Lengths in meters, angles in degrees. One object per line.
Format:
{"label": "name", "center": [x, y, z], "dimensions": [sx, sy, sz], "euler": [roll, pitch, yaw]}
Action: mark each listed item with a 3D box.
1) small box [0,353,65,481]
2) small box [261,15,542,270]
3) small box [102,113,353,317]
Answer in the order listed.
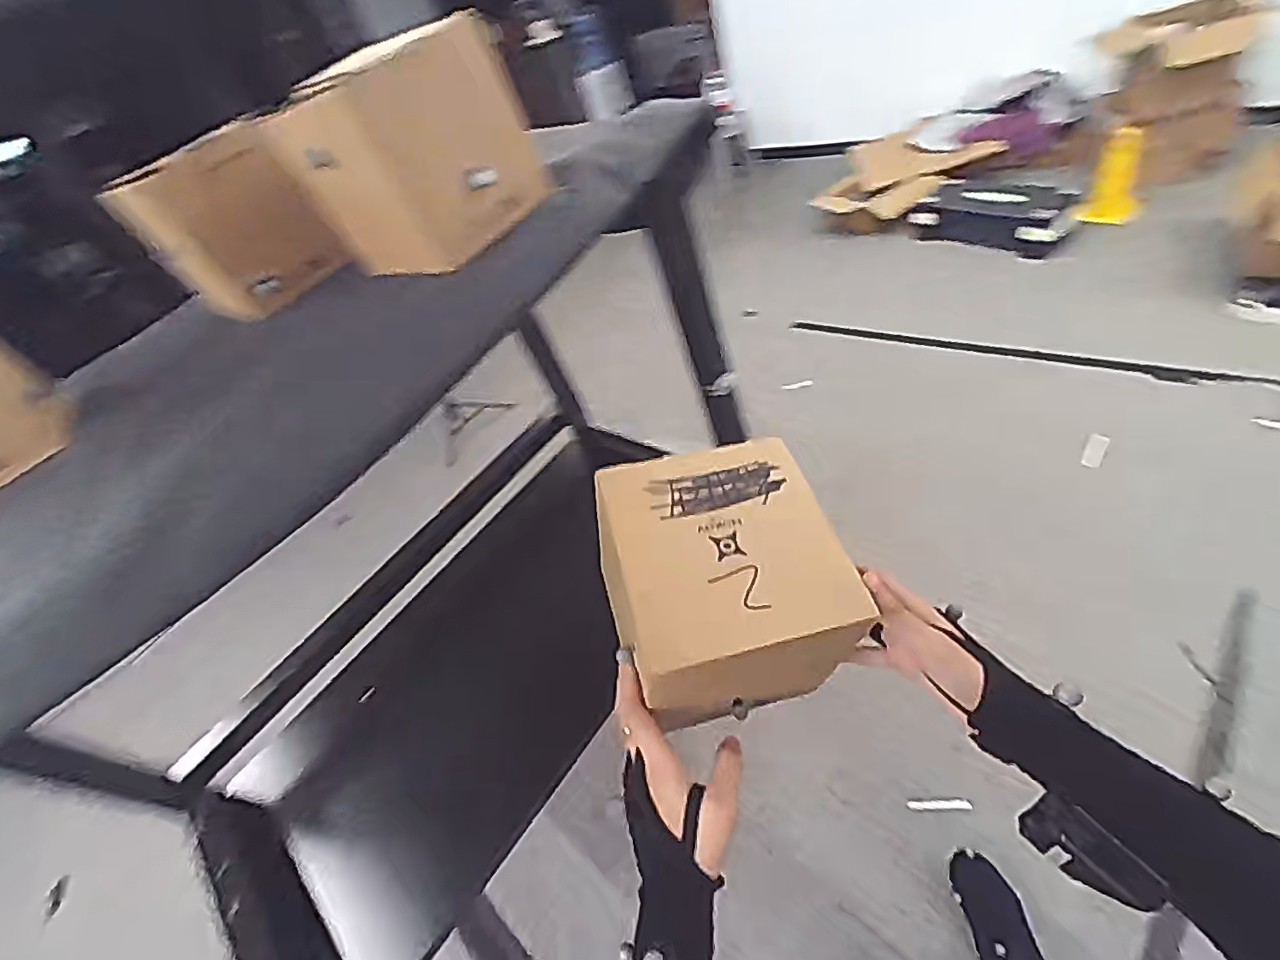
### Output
{"label": "small box", "center": [-0.758, -0.072, 0.557], "dimensions": [0.179, 0.176, 0.168], "euler": [27, 64, 40]}
{"label": "small box", "center": [-0.241, -0.340, 0.574], "dimensions": [0.179, 0.176, 0.168], "euler": [16, 58, 37]}
{"label": "small box", "center": [-0.510, -0.326, 0.686], "dimensions": [0.179, 0.176, 0.168], "euler": [19, 59, 37]}
